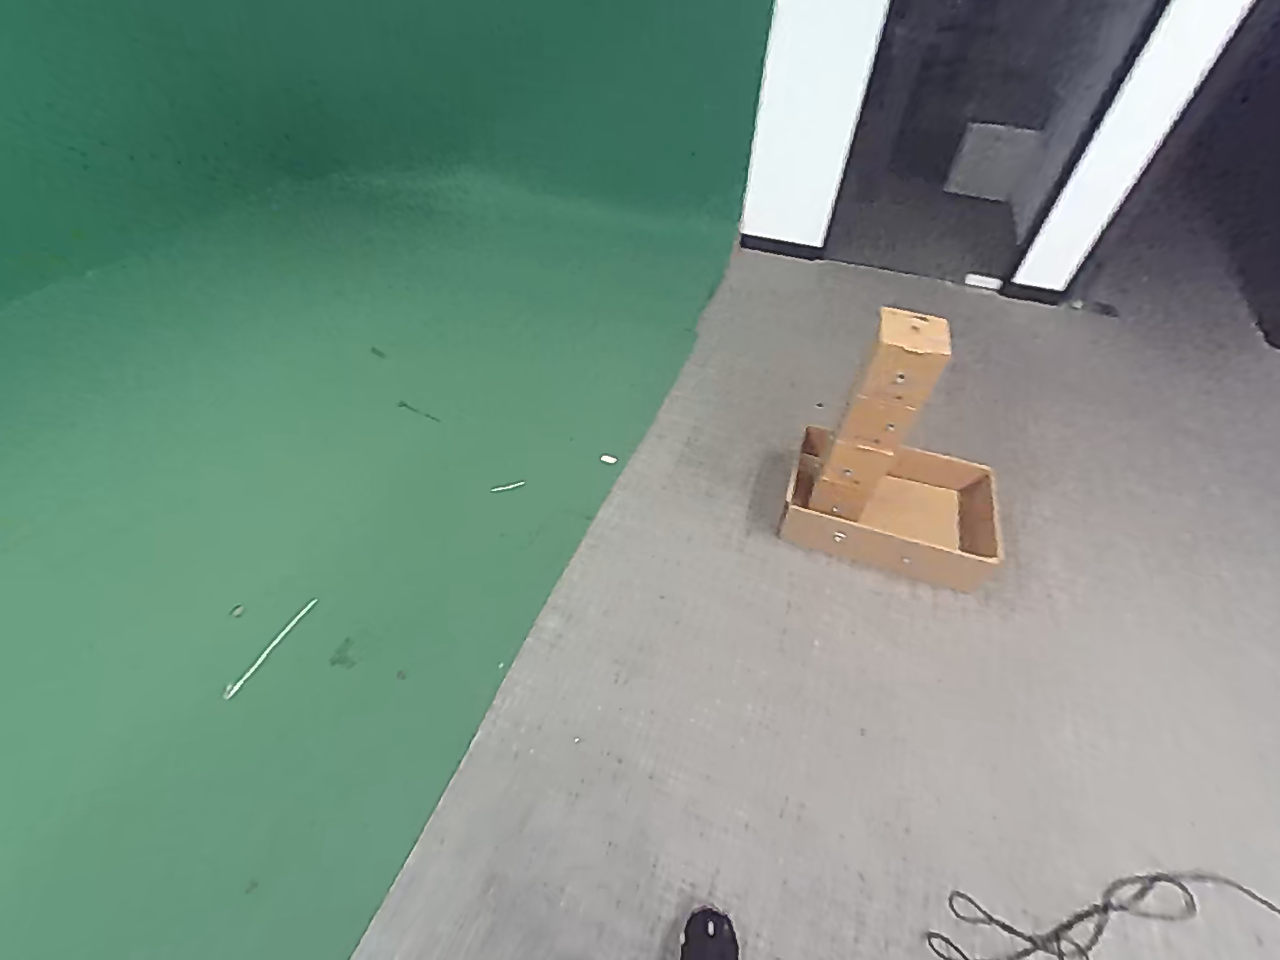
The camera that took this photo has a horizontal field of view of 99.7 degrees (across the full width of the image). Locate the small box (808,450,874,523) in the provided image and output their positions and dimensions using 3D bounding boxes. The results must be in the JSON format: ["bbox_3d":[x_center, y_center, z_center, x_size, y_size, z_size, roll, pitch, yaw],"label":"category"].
[{"bbox_3d":[0.661,0.009,1.769,0.168,0.176,0.179,17,50,13],"label":"small box"}]

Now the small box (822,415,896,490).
[{"bbox_3d":[0.667,-0.100,1.648,0.168,0.176,0.179,17,50,11],"label":"small box"}]

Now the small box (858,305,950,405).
[{"bbox_3d":[0.683,-0.322,1.408,0.168,0.176,0.179,16,51,9],"label":"small box"}]

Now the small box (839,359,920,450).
[{"bbox_3d":[0.673,-0.212,1.529,0.168,0.176,0.179,16,50,10],"label":"small box"}]
